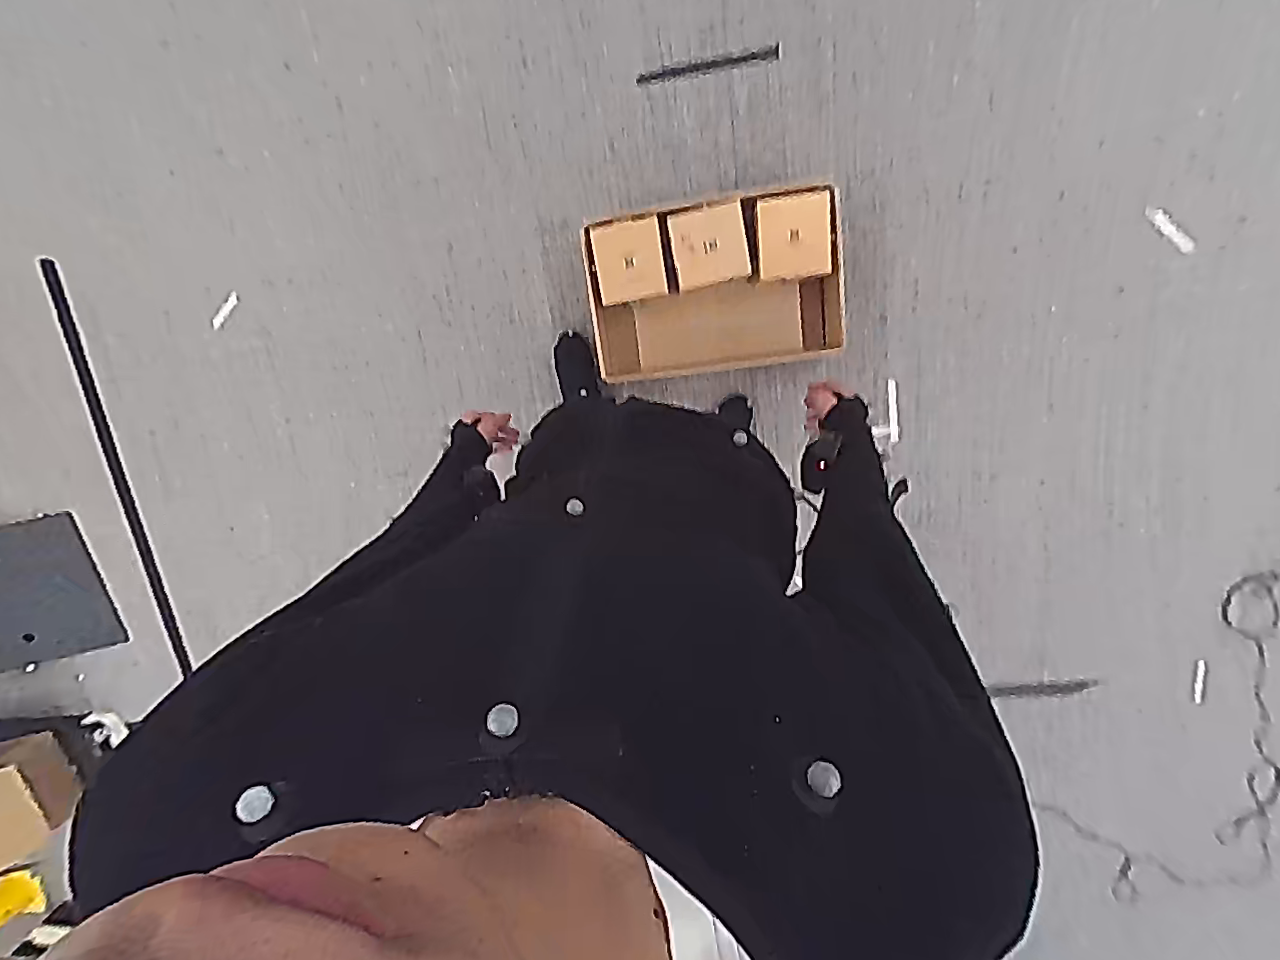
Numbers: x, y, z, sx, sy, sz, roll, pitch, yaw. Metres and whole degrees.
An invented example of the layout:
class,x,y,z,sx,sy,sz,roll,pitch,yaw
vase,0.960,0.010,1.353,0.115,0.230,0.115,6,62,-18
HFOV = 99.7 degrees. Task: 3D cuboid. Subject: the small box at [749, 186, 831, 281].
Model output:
class,x,y,z,sx,sy,sz,roll,pitch,yaw
small box,0.363,-0.596,1.326,0.168,0.176,0.179,-5,106,7
